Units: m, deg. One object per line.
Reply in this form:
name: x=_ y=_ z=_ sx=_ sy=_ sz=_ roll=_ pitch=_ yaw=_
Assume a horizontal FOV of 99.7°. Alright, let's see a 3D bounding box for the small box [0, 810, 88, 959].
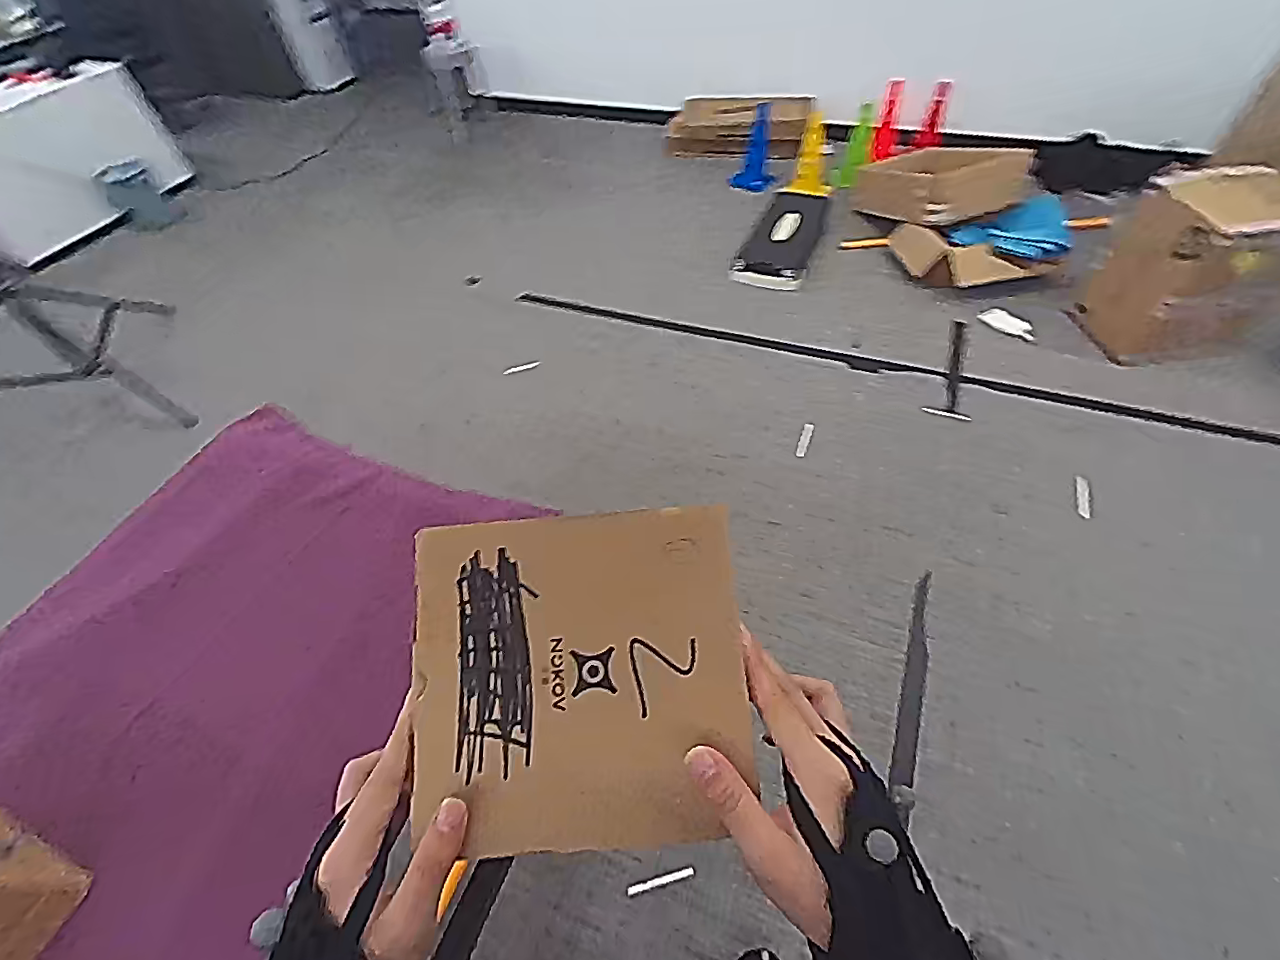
small box: x=-0.648 y=0.389 z=0.448 sx=0.168 sy=0.176 sz=0.179 roll=16 pitch=55 yaw=16
